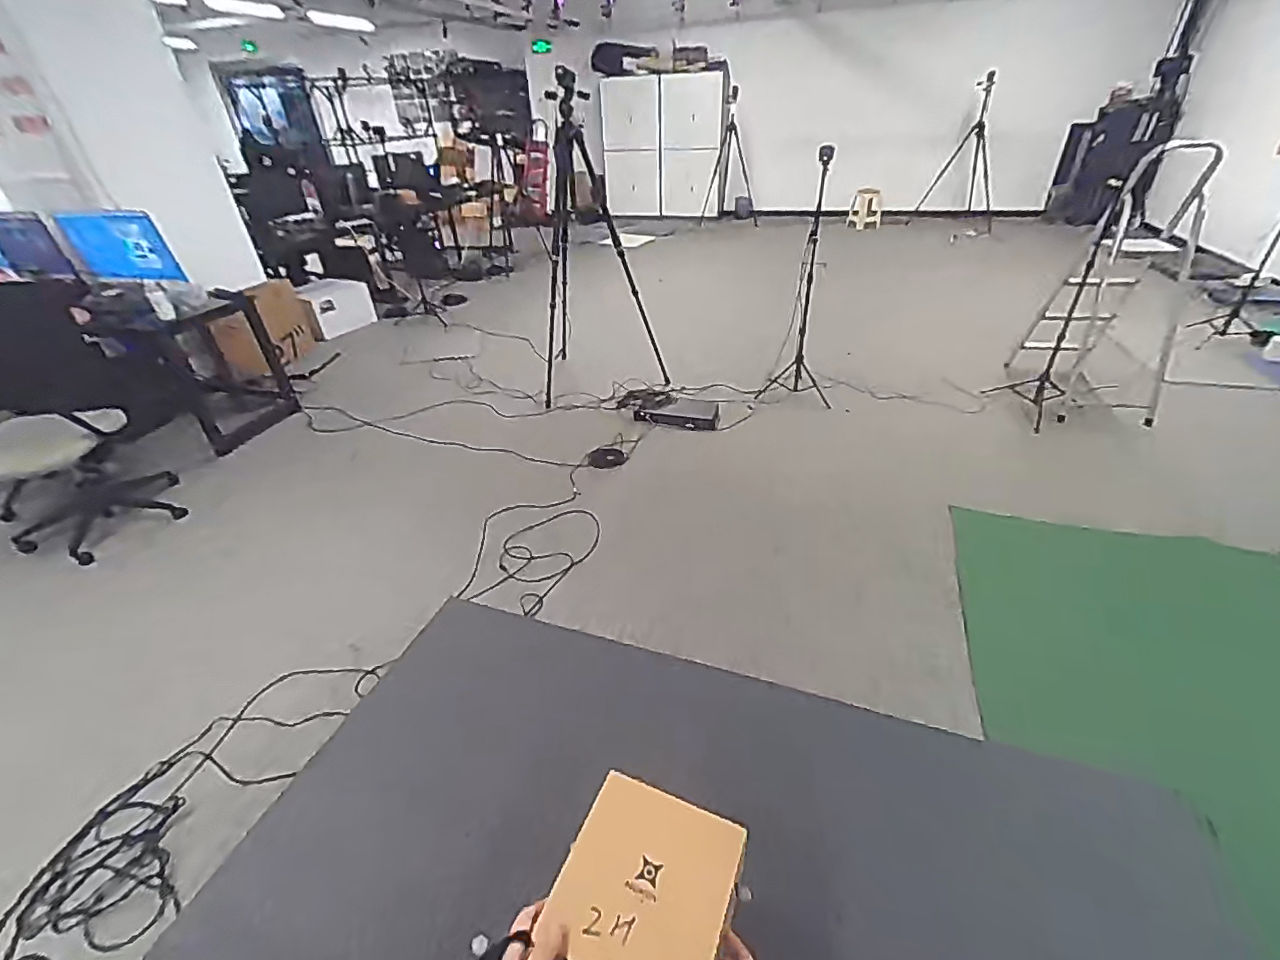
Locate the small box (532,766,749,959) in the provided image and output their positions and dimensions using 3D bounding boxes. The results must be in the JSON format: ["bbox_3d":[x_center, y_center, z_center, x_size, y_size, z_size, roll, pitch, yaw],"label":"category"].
[{"bbox_3d":[0.008,0.456,0.574,0.168,0.176,0.179,12,36,21],"label":"small box"}]
